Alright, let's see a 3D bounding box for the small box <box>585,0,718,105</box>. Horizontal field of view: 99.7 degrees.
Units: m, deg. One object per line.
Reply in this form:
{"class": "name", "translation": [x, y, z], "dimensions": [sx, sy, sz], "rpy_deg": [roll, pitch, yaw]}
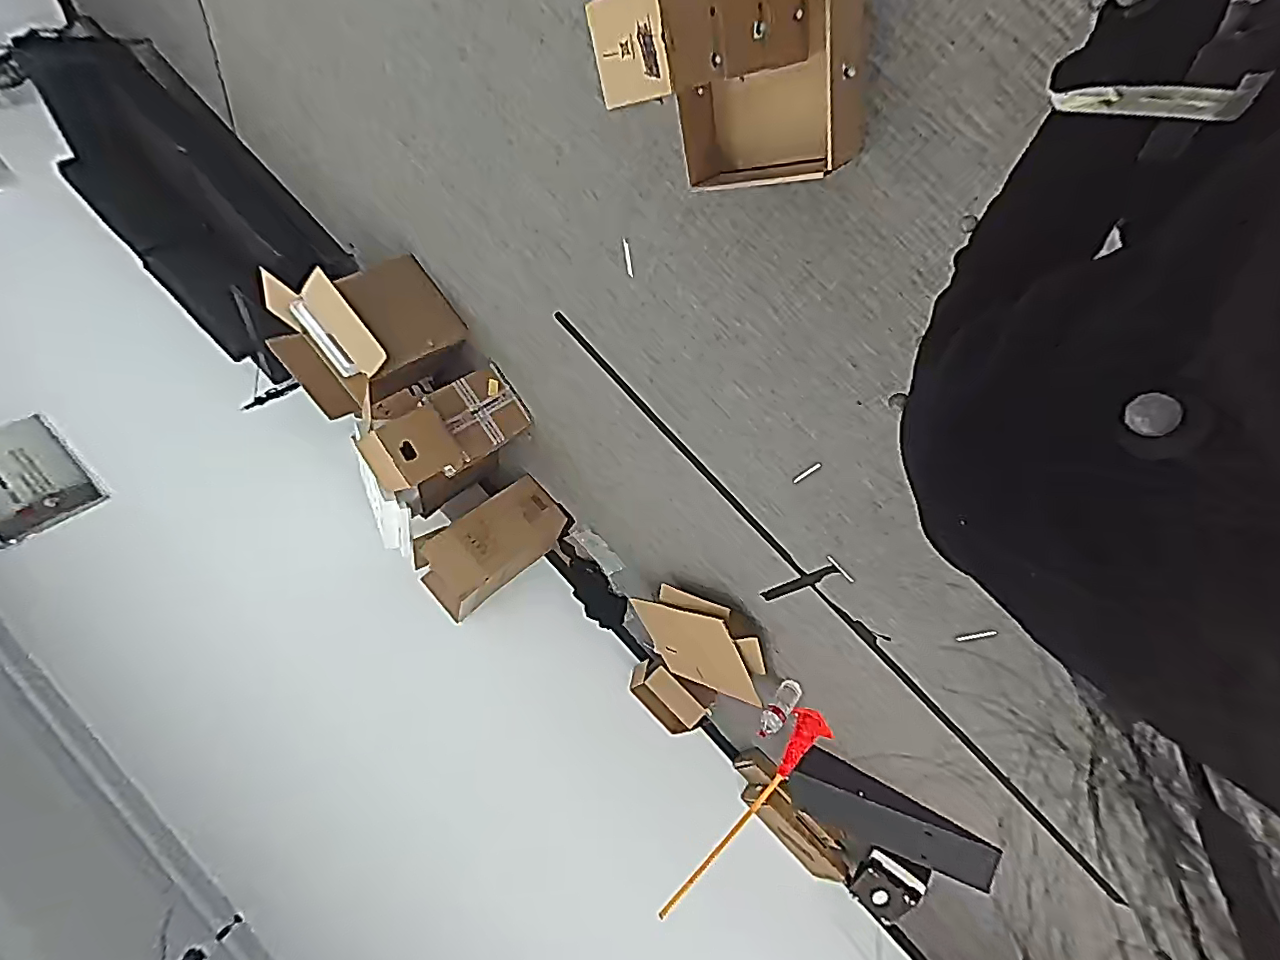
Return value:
{"class": "small box", "translation": [0.032, -0.825, 1.009], "dimensions": [0.179, 0.176, 0.168], "rpy_deg": [20, 138, 40]}

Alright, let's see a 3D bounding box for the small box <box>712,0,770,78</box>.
{"class": "small box", "translation": [0.141, -0.916, 1.093], "dimensions": [0.179, 0.176, 0.168], "rpy_deg": [19, 138, 37]}

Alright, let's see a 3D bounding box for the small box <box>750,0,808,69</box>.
{"class": "small box", "translation": [0.247, -1.003, 1.179], "dimensions": [0.179, 0.176, 0.168], "rpy_deg": [21, 138, 37]}
